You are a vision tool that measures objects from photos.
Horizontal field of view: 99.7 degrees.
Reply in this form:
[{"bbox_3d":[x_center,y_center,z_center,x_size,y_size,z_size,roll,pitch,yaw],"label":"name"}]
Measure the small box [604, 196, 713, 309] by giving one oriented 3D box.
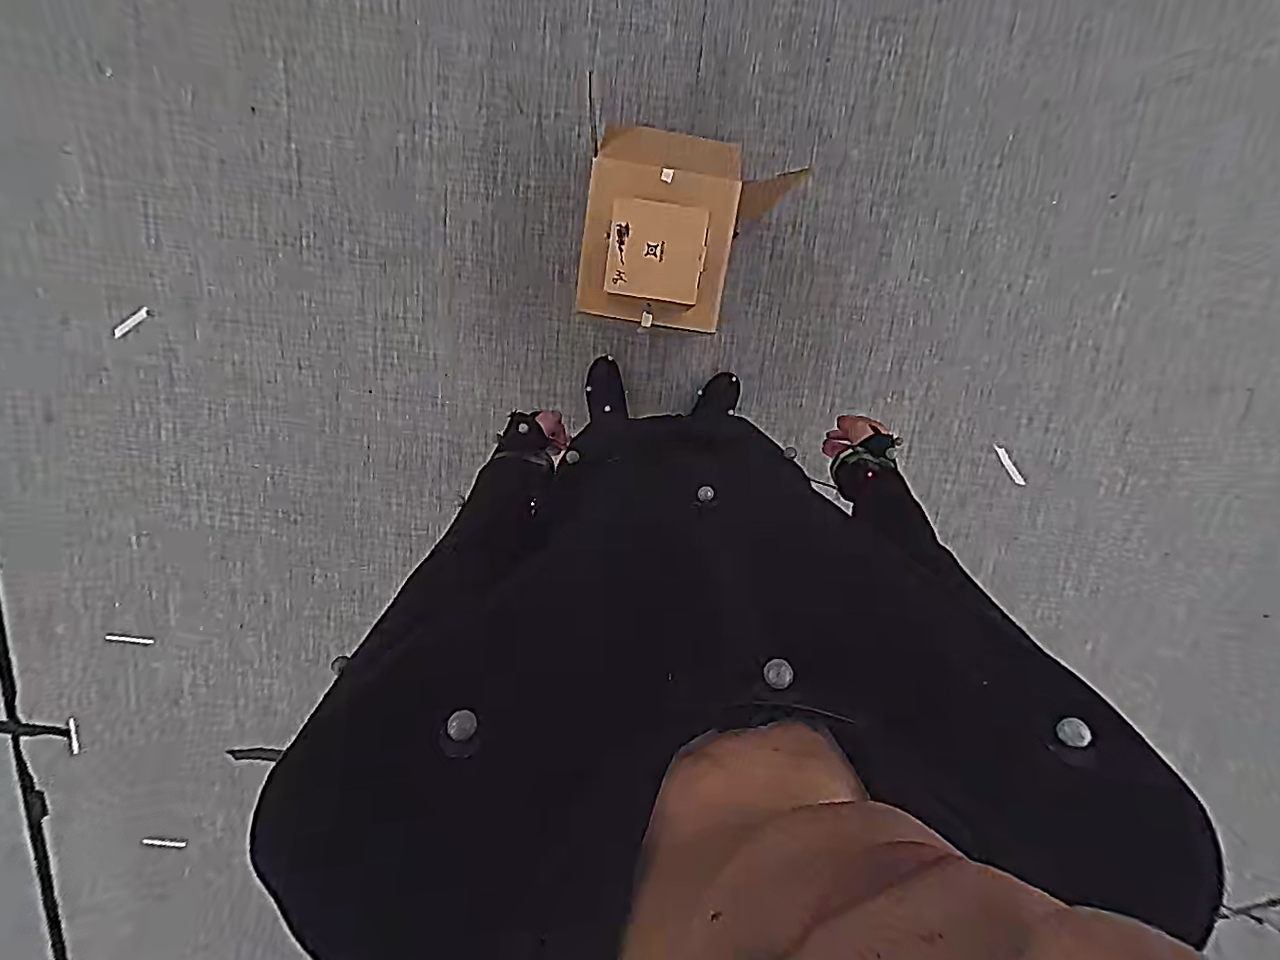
[{"bbox_3d":[0.031,-0.430,1.050,0.179,0.176,0.168,8,104,-3],"label":"small box"}]
